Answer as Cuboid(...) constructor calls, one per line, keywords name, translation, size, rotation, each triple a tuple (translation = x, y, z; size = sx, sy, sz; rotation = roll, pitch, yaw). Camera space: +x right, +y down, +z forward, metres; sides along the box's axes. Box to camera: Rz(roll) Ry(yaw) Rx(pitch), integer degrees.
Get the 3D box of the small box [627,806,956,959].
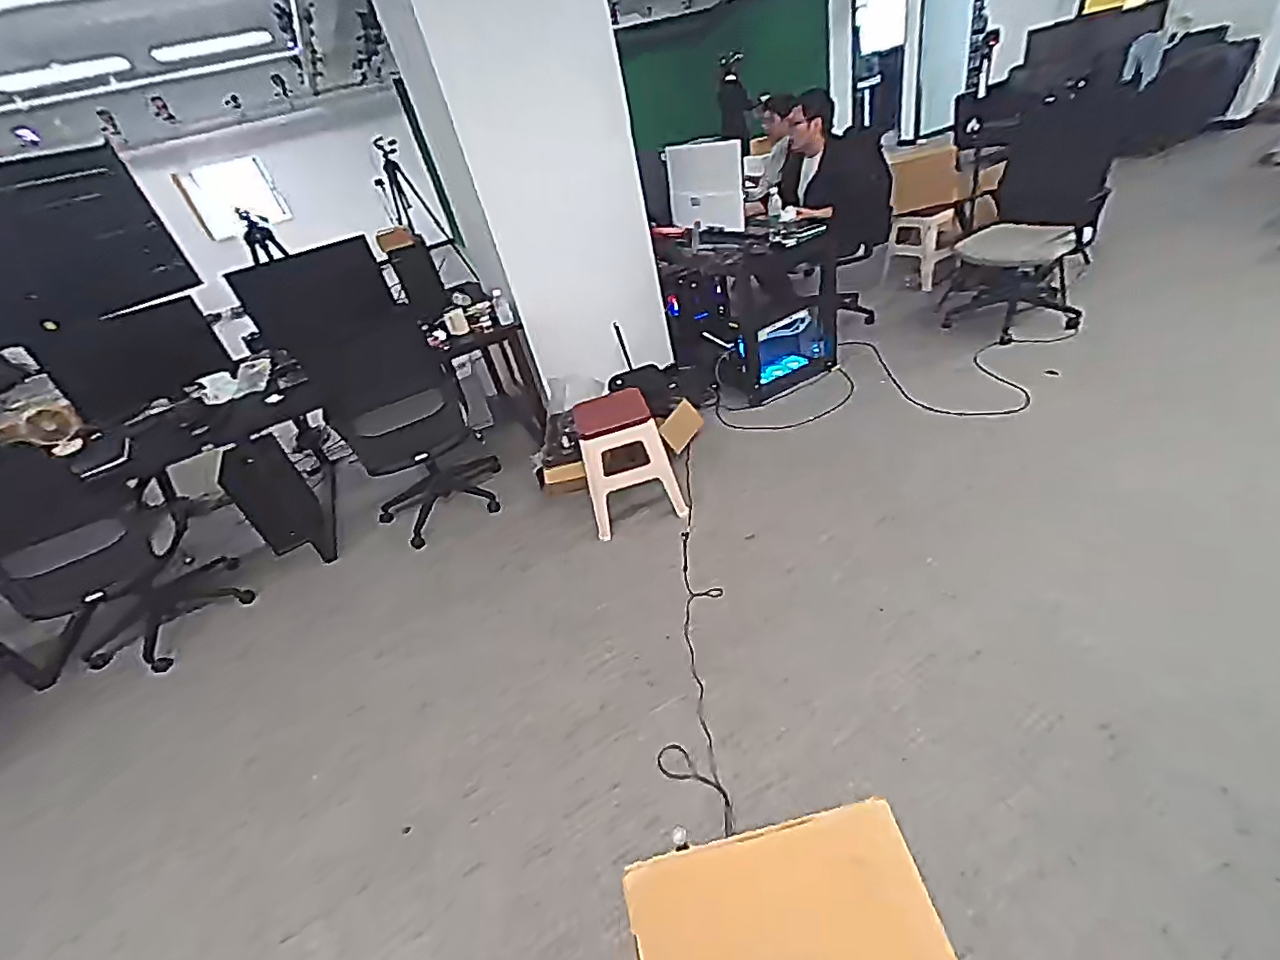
Cuboid(name="small box", translation=(0.100, 0.332, 0.356), size=(0.179, 0.176, 0.168), rotation=(-15, 54, -2))
